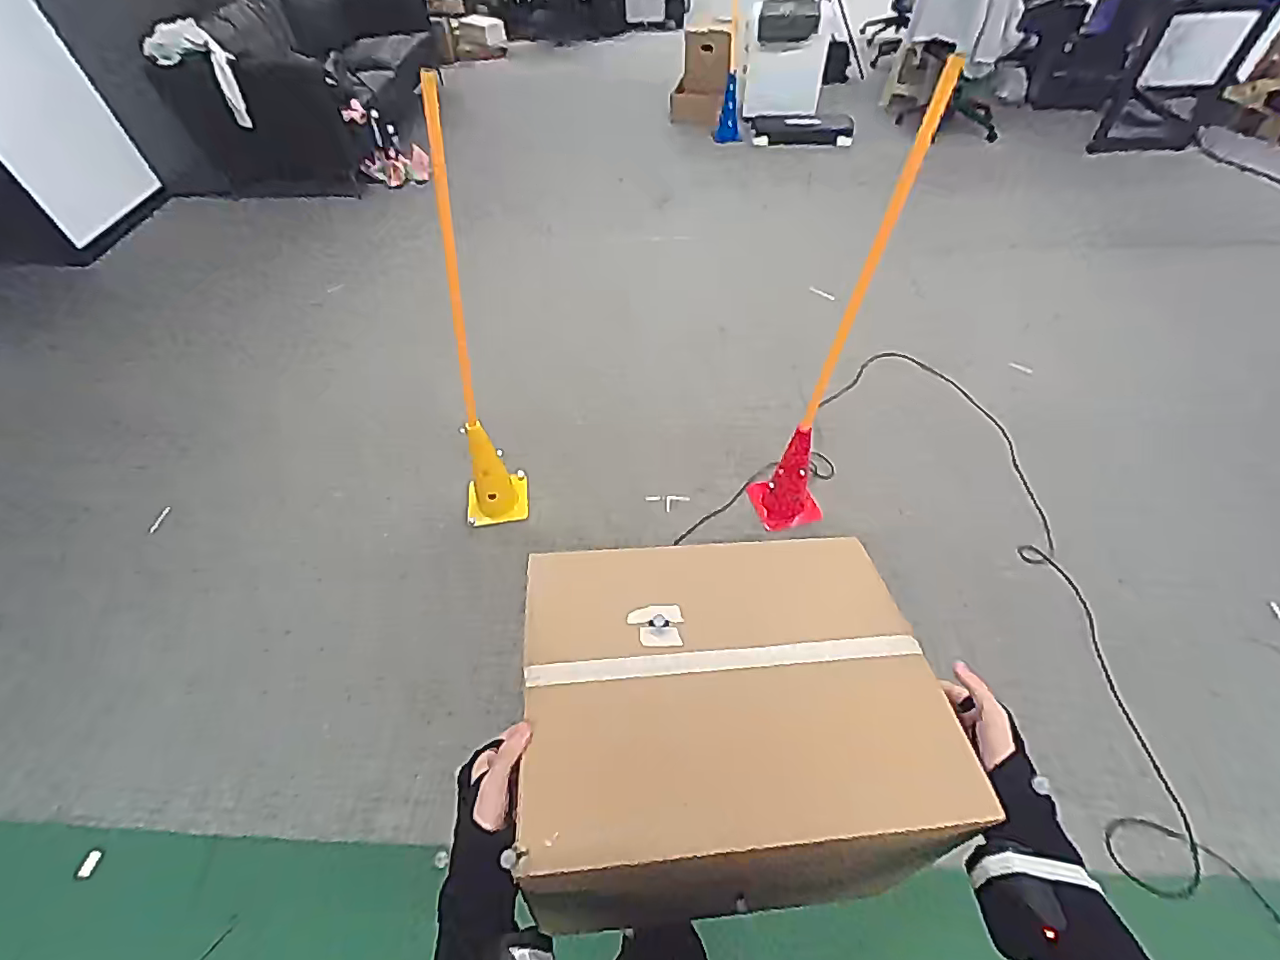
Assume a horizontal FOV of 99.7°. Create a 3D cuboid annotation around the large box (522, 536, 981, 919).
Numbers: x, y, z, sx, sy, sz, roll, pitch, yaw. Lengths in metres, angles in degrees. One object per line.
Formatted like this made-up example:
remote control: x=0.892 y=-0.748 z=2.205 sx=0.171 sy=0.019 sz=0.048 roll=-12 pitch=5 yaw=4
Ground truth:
large box: x=0.083 y=0.294 z=0.656 sx=0.408 sy=0.320 sz=0.320 roll=-3 pitch=44 yaw=-6
